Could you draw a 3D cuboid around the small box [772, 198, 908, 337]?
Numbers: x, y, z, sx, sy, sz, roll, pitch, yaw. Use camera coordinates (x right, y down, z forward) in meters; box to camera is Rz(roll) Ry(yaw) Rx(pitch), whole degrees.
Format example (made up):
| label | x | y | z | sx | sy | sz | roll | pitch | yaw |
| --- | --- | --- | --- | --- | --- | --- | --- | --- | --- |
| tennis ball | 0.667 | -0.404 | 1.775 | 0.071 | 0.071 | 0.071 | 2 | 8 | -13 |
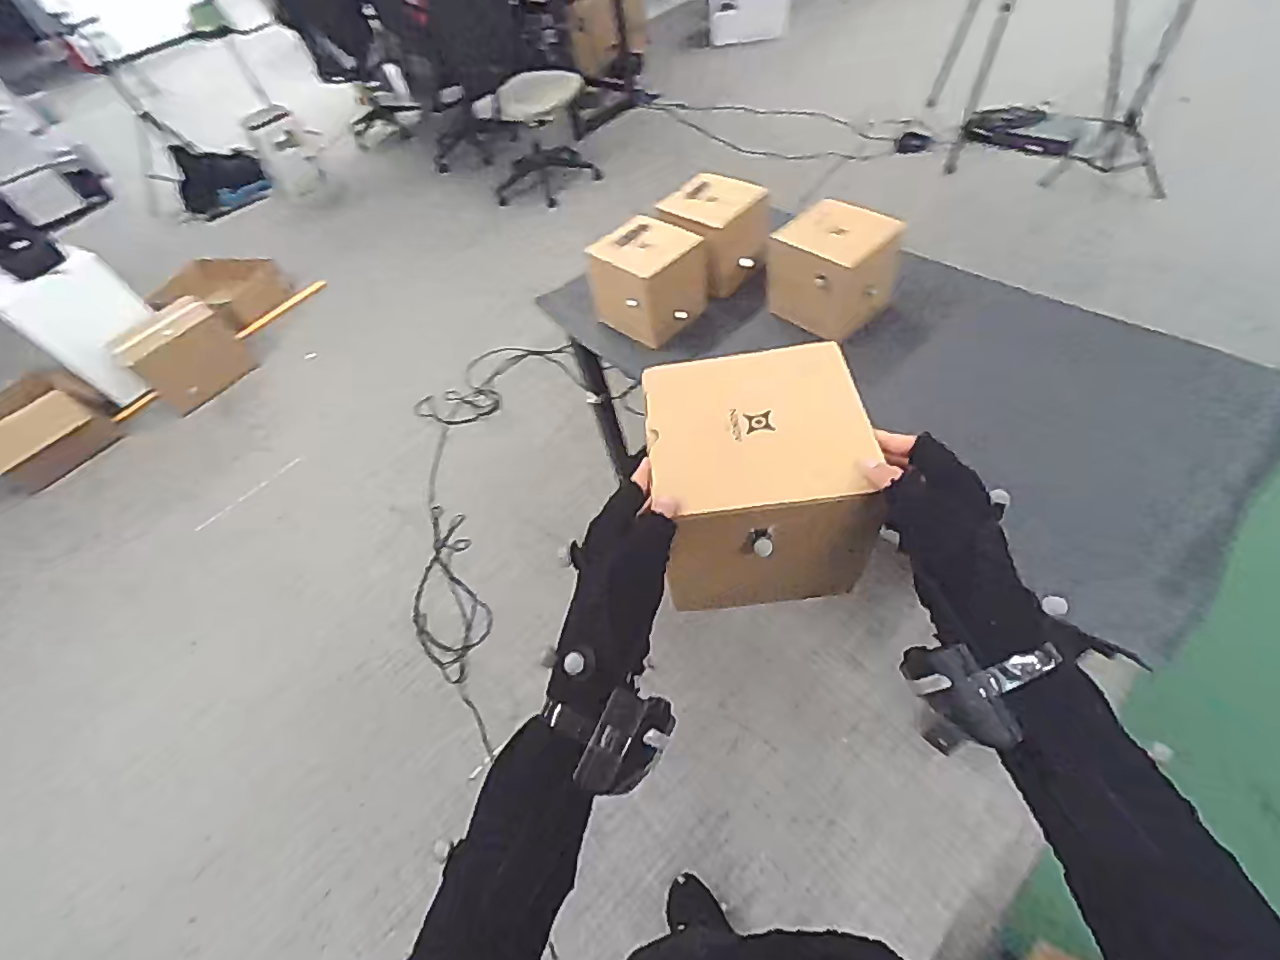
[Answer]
| label | x | y | z | sx | sy | sz | roll | pitch | yaw |
| --- | --- | --- | --- | --- | --- | --- | --- | --- | --- |
| small box | 0.374 | -0.403 | 1.042 | 0.168 | 0.176 | 0.179 | -38 | 55 | -16 |
